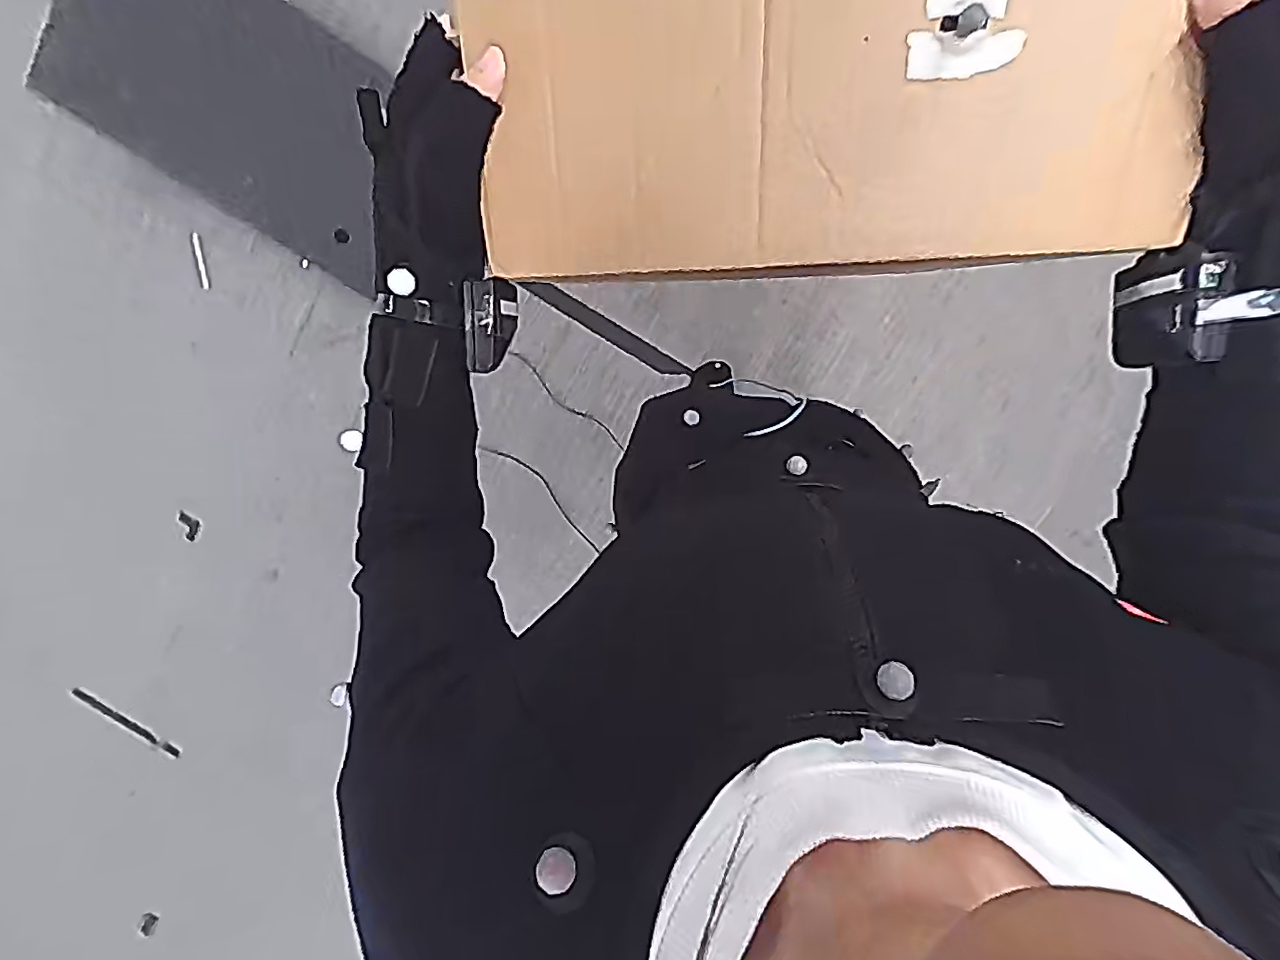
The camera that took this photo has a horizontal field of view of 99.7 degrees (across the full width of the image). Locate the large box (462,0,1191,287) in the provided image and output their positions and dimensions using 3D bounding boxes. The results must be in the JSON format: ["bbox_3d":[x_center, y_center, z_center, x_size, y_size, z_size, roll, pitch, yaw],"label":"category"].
[{"bbox_3d":[0.100,-0.335,0.432,0.408,0.320,0.320,-2,109,4],"label":"large box"}]

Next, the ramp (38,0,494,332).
[{"bbox_3d":[-0.838,-0.844,1.302,0.991,0.206,0.509,32,100,-2],"label":"ramp"}]
